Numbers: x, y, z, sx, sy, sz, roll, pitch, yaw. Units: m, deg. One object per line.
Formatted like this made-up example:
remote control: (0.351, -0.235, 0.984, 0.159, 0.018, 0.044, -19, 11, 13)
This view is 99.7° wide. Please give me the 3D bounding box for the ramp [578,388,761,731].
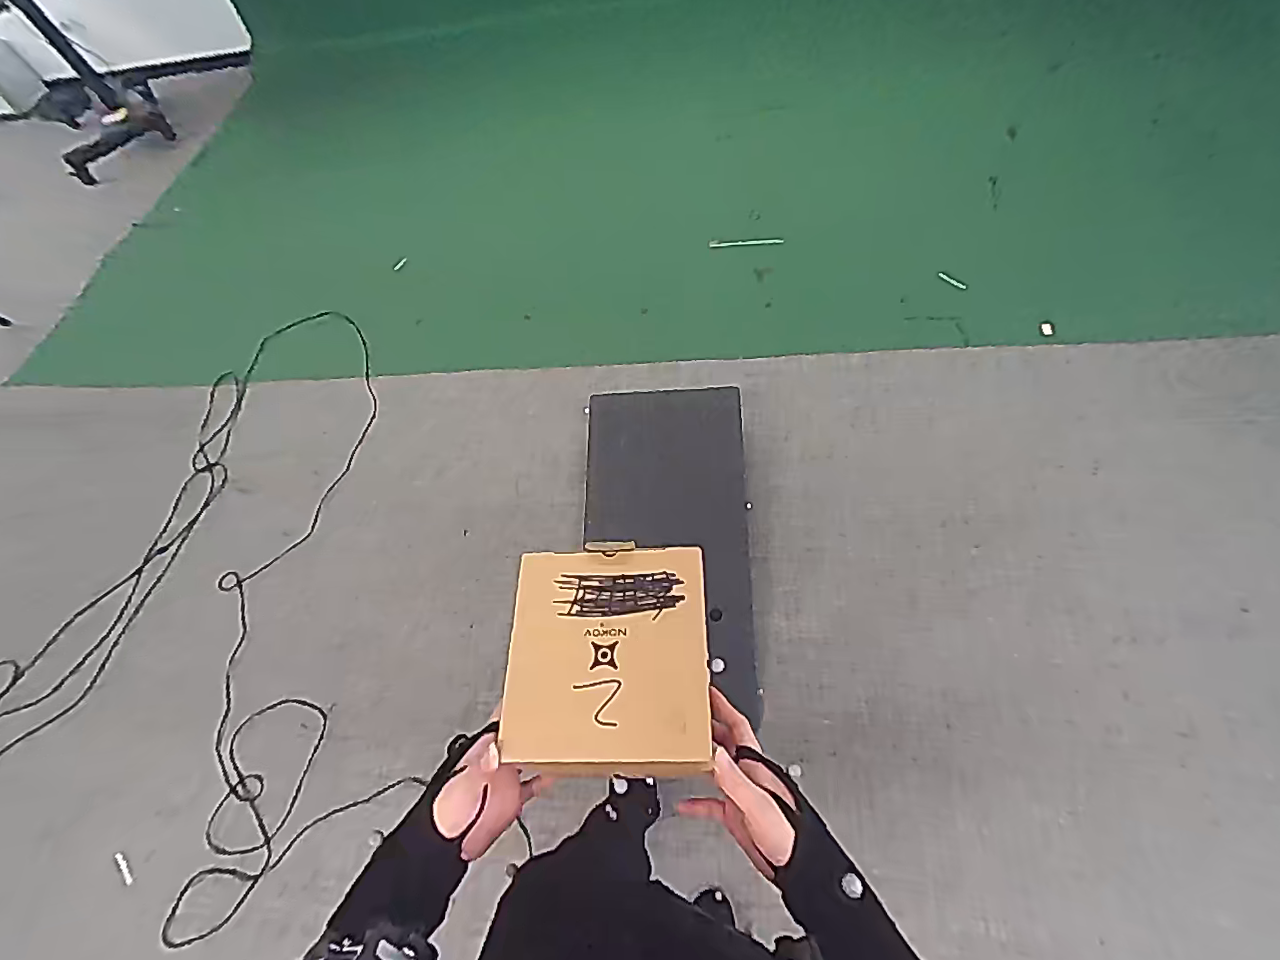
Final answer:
ramp: (0.078, 0.185, 1.584, 0.509, 0.206, 0.991, -3, 60, 6)
